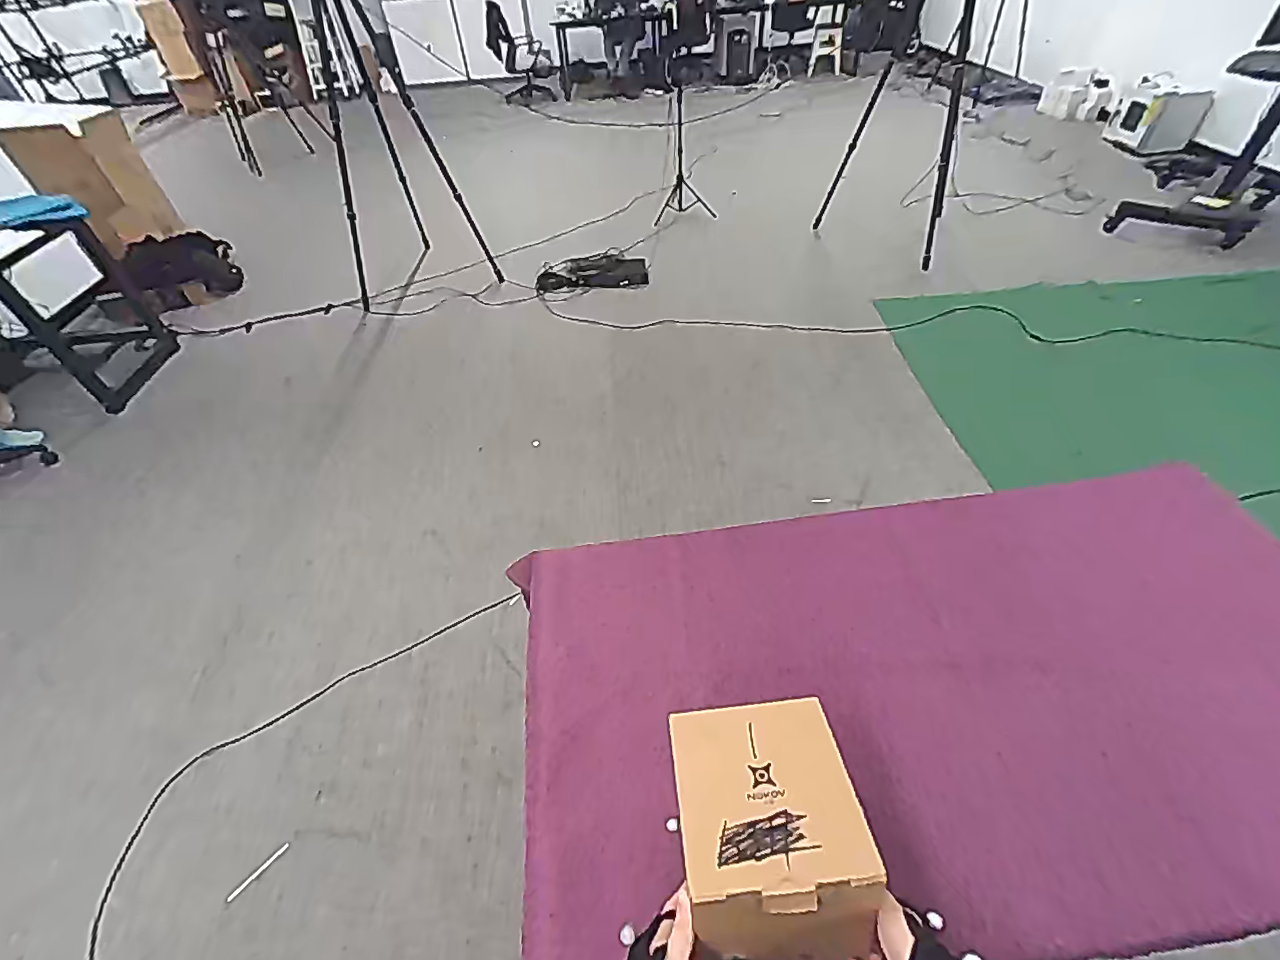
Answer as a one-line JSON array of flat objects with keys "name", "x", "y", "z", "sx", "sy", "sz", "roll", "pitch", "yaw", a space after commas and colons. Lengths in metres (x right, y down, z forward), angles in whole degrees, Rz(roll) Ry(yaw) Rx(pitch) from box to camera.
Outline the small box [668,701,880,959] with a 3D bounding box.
[{"name": "small box", "x": 0.124, "y": 0.362, "z": 0.556, "sx": 0.168, "sy": 0.176, "sz": 0.179, "roll": -7, "pitch": 32, "yaw": 0}]
